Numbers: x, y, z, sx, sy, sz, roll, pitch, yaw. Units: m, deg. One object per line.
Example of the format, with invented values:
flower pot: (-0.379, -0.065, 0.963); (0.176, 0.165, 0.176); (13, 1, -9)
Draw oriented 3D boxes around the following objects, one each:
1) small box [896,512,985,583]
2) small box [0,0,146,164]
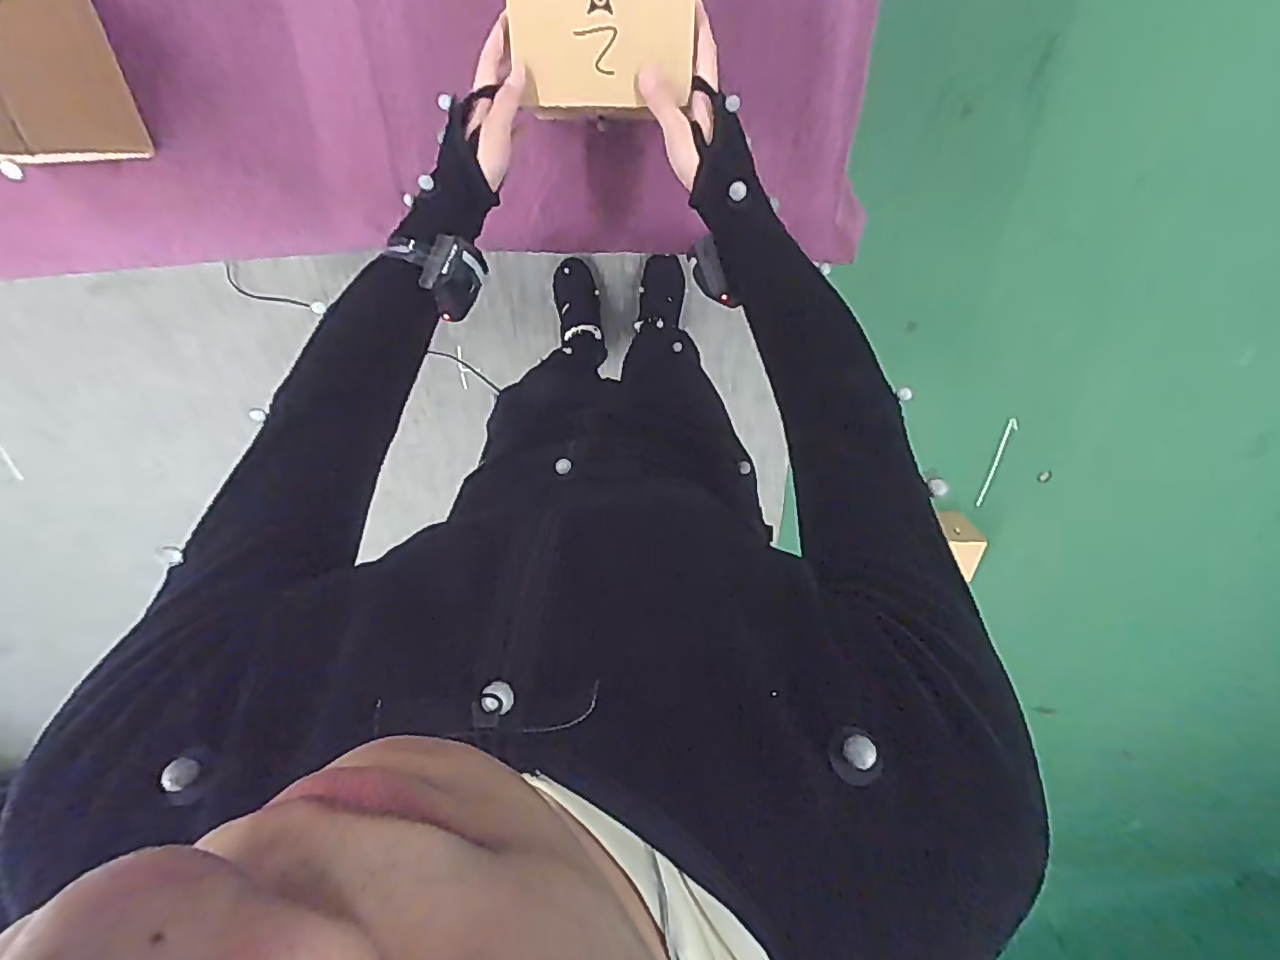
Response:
small box: (0.981, 0.219, 1.780); (0.179, 0.176, 0.168); (2, 121, 0)
small box: (-0.691, -0.433, 0.567); (0.168, 0.176, 0.179); (-2, 120, 2)
